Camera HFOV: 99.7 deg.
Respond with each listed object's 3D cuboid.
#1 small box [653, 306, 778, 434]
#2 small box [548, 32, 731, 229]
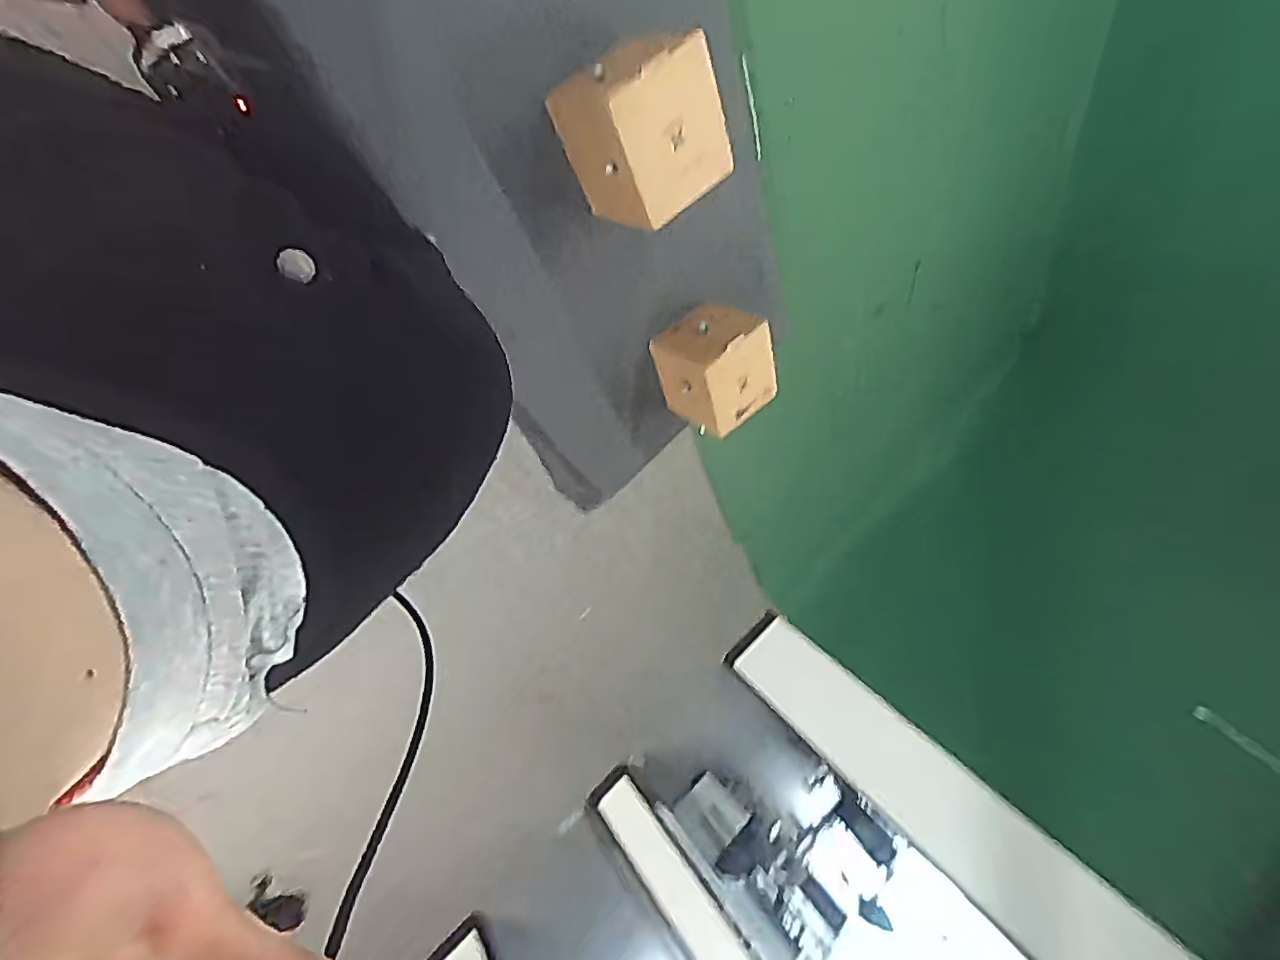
[{"bbox_3d":[0.150,-0.230,1.088,0.168,0.176,0.179,-38,136,-15],"label":"small box"},{"bbox_3d":[-0.002,-0.496,0.777,0.168,0.176,0.179,-42,139,-9],"label":"small box"}]
